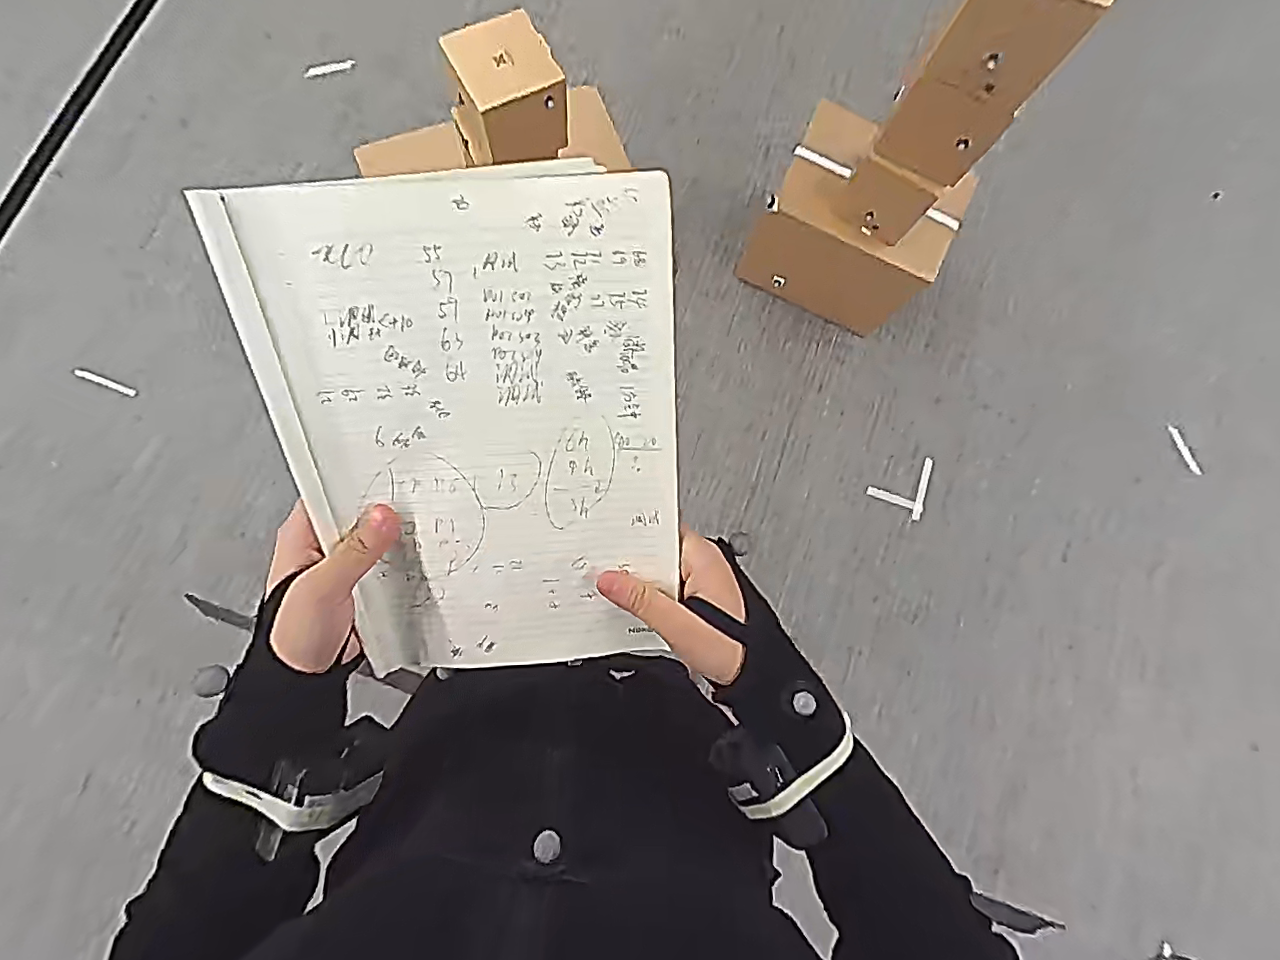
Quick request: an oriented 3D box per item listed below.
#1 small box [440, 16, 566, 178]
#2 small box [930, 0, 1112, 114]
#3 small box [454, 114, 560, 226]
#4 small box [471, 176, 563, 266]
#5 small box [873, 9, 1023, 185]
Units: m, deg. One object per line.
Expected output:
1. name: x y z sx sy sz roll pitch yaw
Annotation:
1. small box: -0.255 -0.734 1.054 0.179 0.176 0.168 -30 85 -11
2. small box: 0.577 -0.714 0.815 0.168 0.176 0.179 26 79 0
3. small box: -0.290 -0.705 1.211 0.179 0.176 0.168 -22 84 -10
4. small box: -0.306 -0.679 1.373 0.179 0.176 0.168 -23 84 -10
5. small box: 0.560 -0.674 0.974 0.179 0.176 0.168 24 79 0
